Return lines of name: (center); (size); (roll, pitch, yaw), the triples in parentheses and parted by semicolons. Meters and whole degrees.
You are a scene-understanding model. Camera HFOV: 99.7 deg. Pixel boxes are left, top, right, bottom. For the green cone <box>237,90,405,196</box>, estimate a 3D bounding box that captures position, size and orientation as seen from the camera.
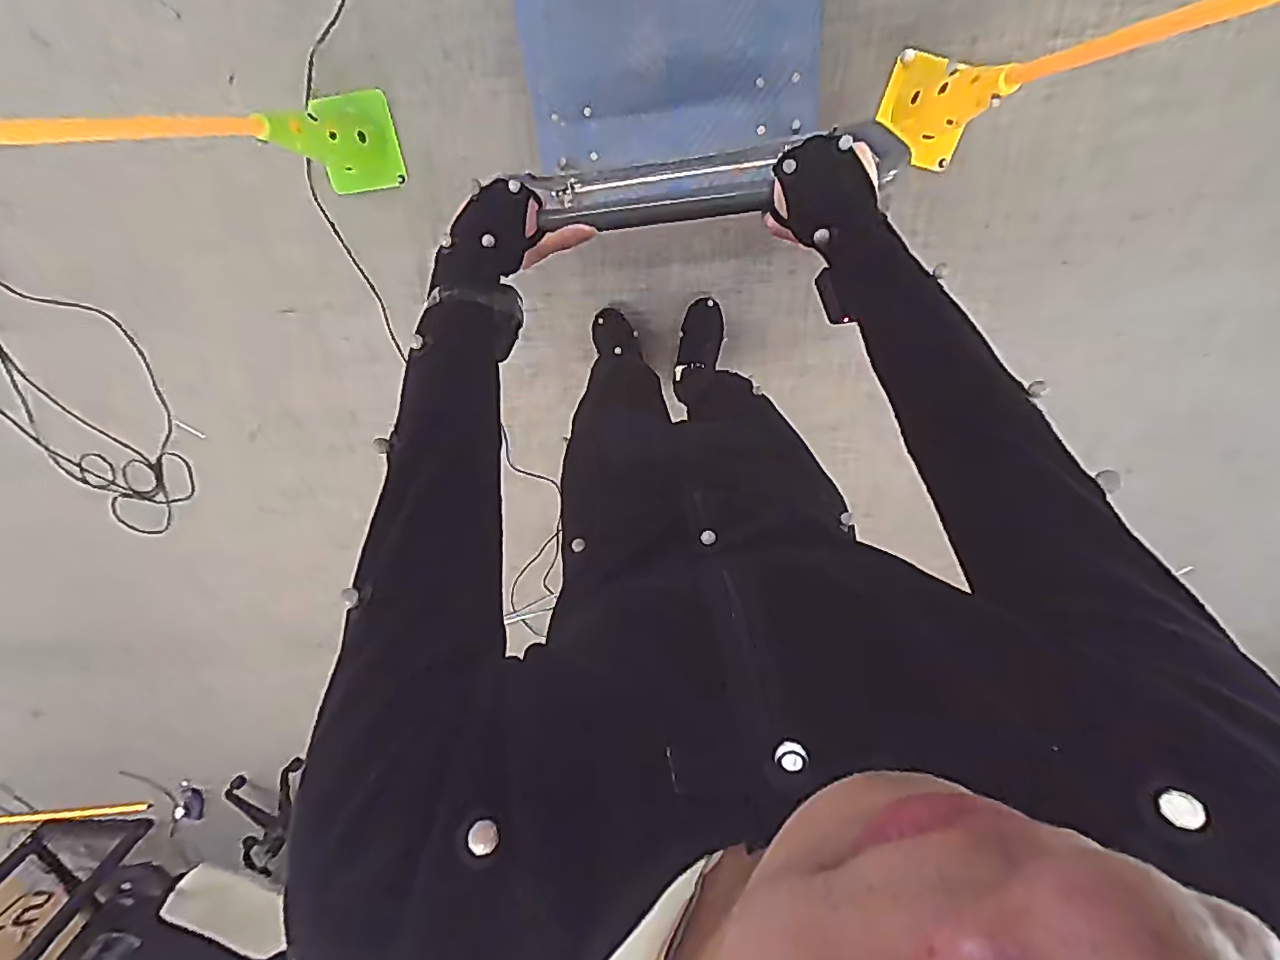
green cone: (-0.698, -0.731, 1.148); (0.202, 0.368, 0.200); (-5, 116, 8)
